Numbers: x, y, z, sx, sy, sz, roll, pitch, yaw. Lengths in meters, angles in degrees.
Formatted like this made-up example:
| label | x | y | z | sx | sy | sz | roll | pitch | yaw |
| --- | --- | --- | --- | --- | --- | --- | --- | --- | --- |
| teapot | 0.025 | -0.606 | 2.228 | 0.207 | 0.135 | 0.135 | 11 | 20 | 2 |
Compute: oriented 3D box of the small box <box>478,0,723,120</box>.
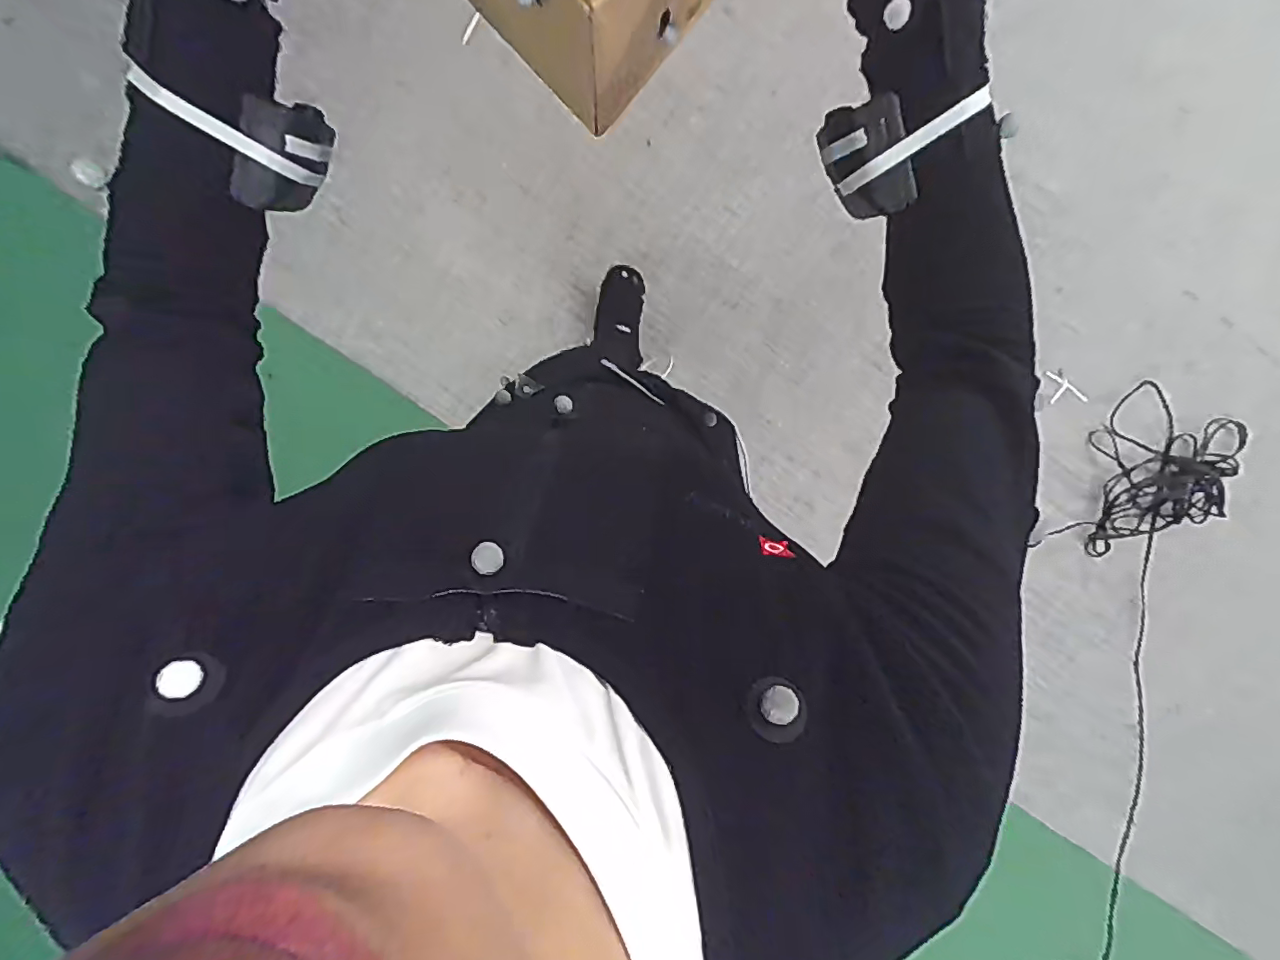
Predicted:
| label | x | y | z | sx | sy | sz | roll | pitch | yaw |
| --- | --- | --- | --- | --- | --- | --- | --- | --- | --- |
| small box | -0.031 | -0.371 | 0.326 | 0.179 | 0.176 | 0.168 | 42 | 98 | -12 |
